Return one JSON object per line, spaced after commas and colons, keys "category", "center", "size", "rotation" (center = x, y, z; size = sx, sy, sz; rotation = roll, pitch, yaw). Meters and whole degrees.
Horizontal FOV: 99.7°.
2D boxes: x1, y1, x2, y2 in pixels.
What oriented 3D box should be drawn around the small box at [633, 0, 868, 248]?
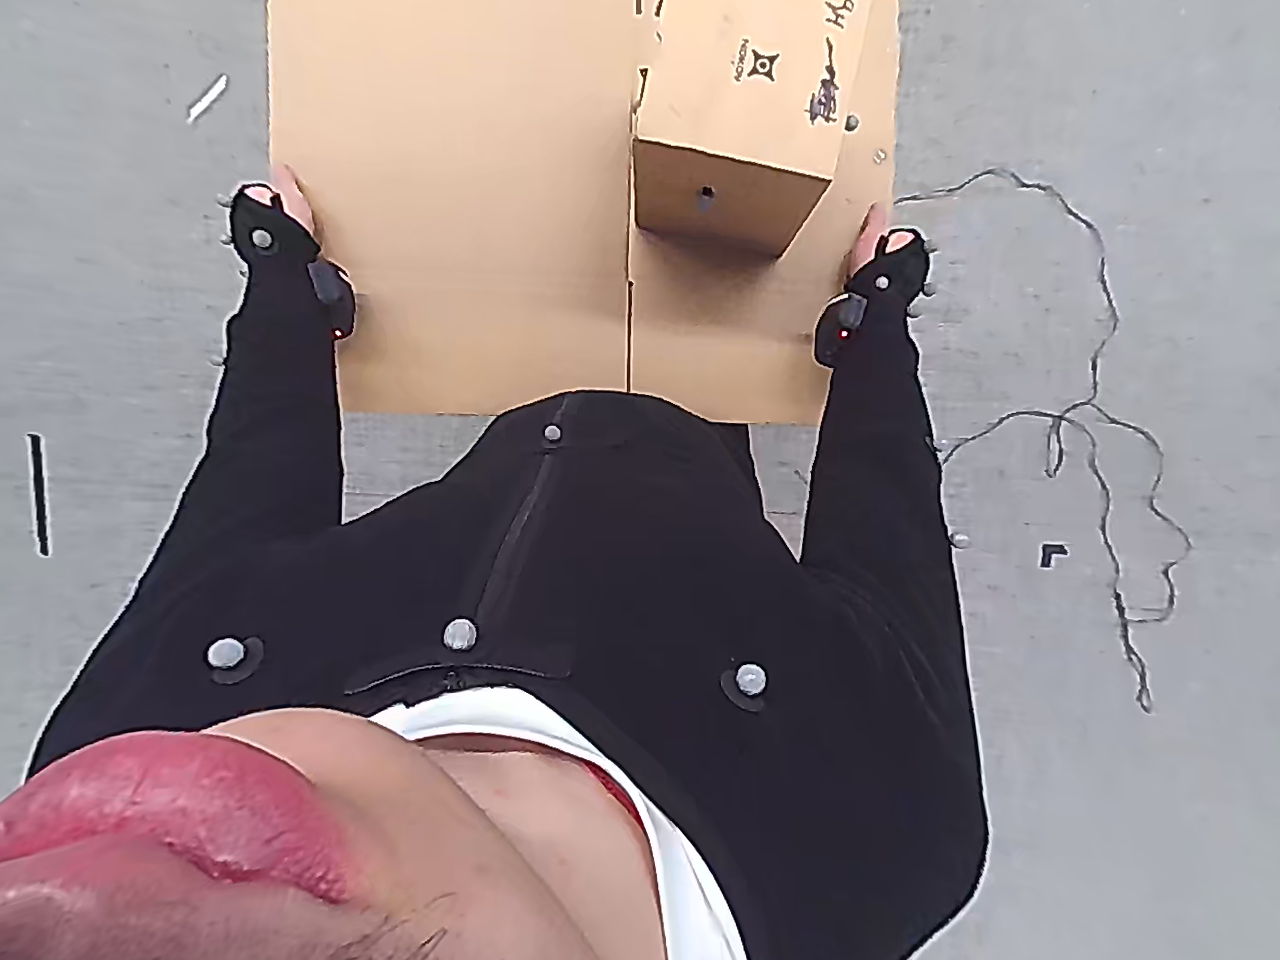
{"category": "small box", "center": [0.097, -0.356, 0.542], "size": [0.179, 0.176, 0.168], "rotation": [12, 92, 1]}
